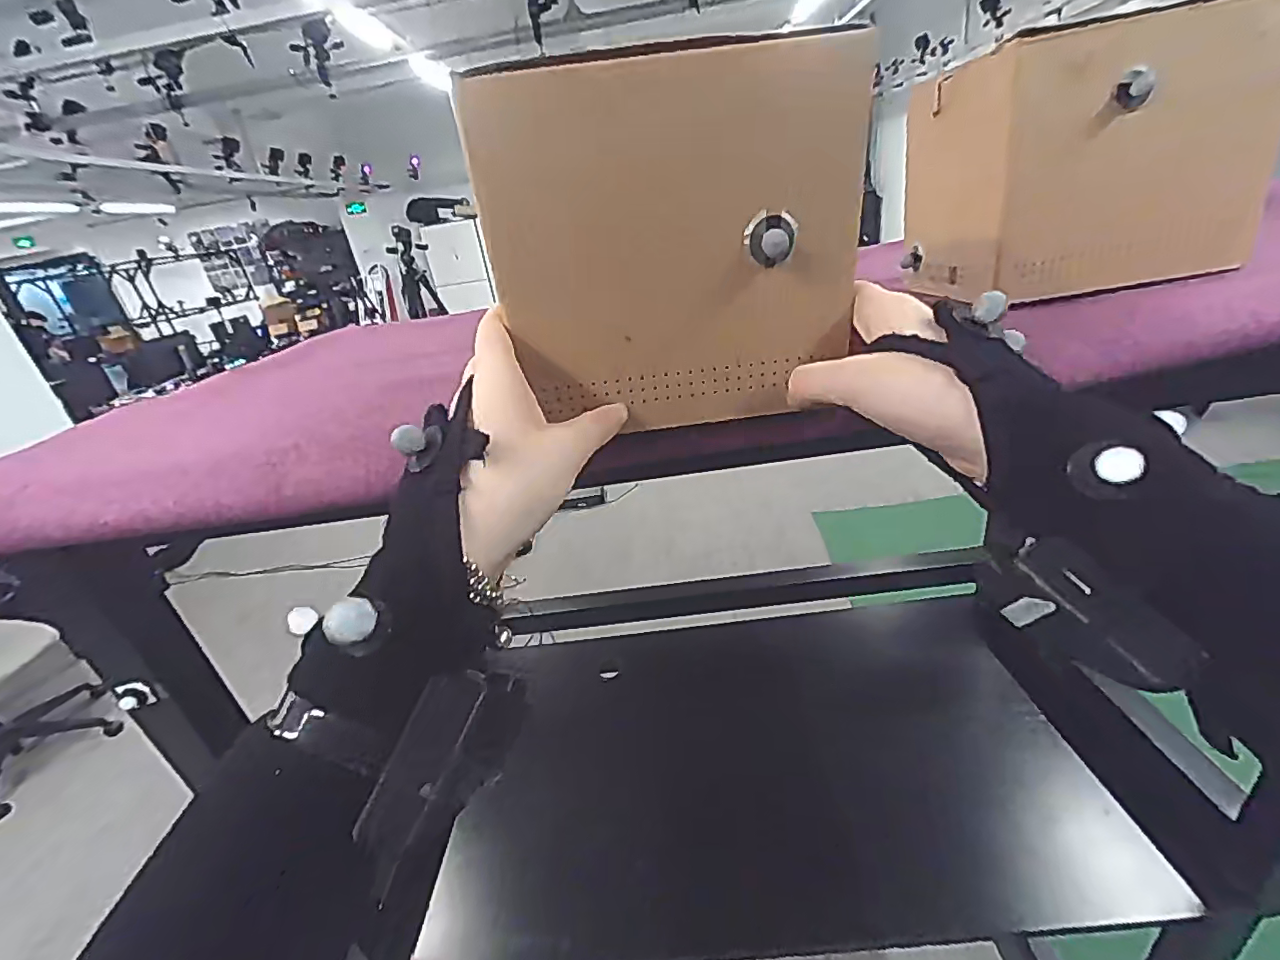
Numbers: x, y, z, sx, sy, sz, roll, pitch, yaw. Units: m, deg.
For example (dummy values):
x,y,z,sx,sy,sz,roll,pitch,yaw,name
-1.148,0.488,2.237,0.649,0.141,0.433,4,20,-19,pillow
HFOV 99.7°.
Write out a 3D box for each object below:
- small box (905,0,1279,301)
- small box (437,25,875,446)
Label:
x,y,z,sx,sy,sz,roll,pitch,yaw,name
0.330,-0.246,0.429,0.179,0.176,0.168,-7,24,5,small box
0.009,-0.136,0.318,0.179,0.176,0.168,-8,30,-1,small box
